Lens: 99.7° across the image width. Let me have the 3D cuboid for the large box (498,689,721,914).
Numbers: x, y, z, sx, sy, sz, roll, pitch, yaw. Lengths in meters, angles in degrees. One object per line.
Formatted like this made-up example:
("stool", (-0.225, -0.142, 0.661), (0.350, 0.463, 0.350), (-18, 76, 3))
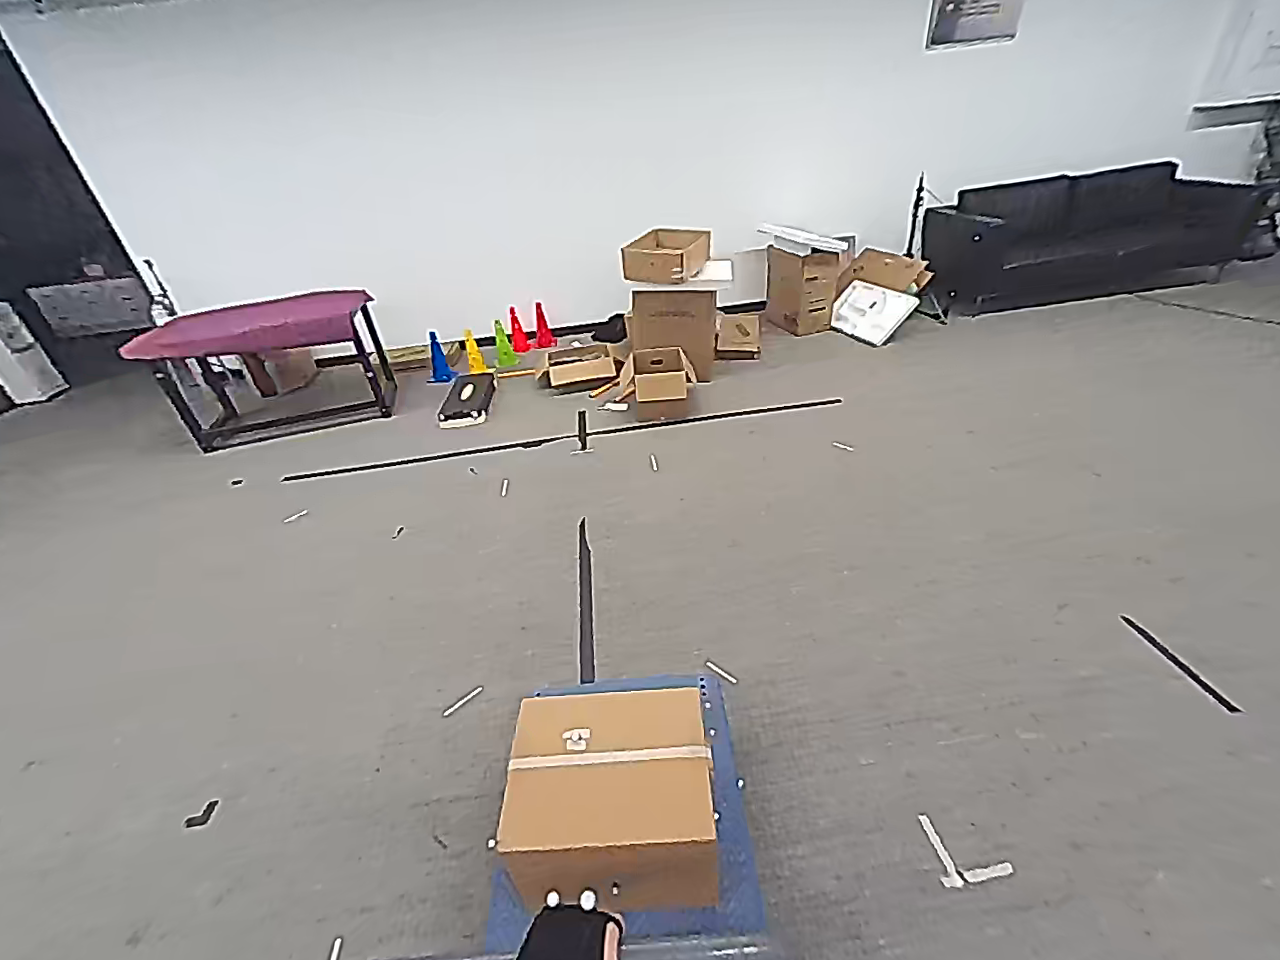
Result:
("large box", (-0.049, 0.700, 1.184), (0.408, 0.320, 0.320), (-6, 33, 3))
